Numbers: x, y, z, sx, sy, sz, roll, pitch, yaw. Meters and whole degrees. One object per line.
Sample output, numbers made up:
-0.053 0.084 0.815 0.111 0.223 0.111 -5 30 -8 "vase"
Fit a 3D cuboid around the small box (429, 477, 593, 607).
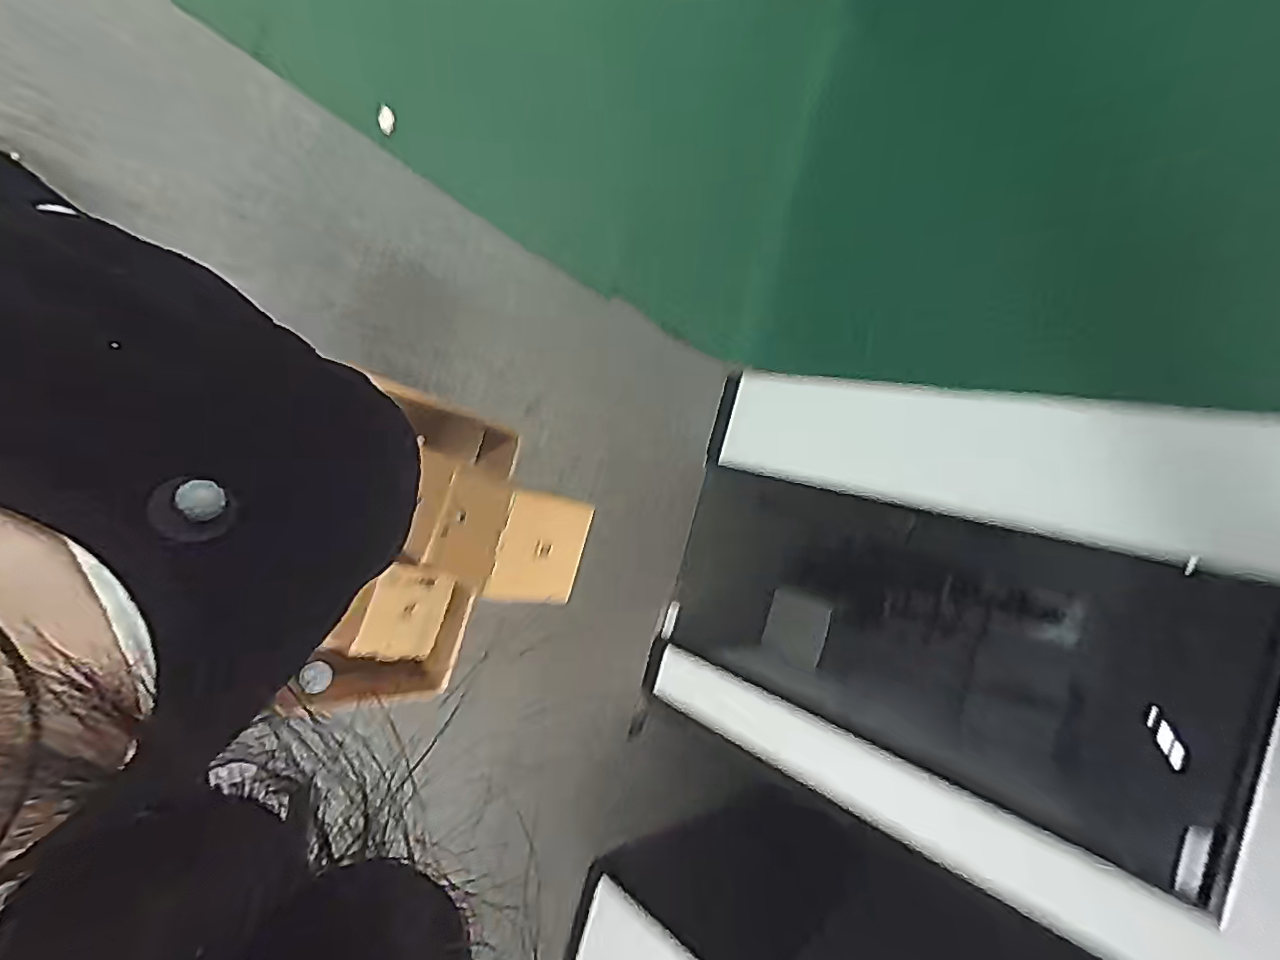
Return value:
-0.213 0.101 0.895 0.179 0.176 0.168 18 88 -50 "small box"
